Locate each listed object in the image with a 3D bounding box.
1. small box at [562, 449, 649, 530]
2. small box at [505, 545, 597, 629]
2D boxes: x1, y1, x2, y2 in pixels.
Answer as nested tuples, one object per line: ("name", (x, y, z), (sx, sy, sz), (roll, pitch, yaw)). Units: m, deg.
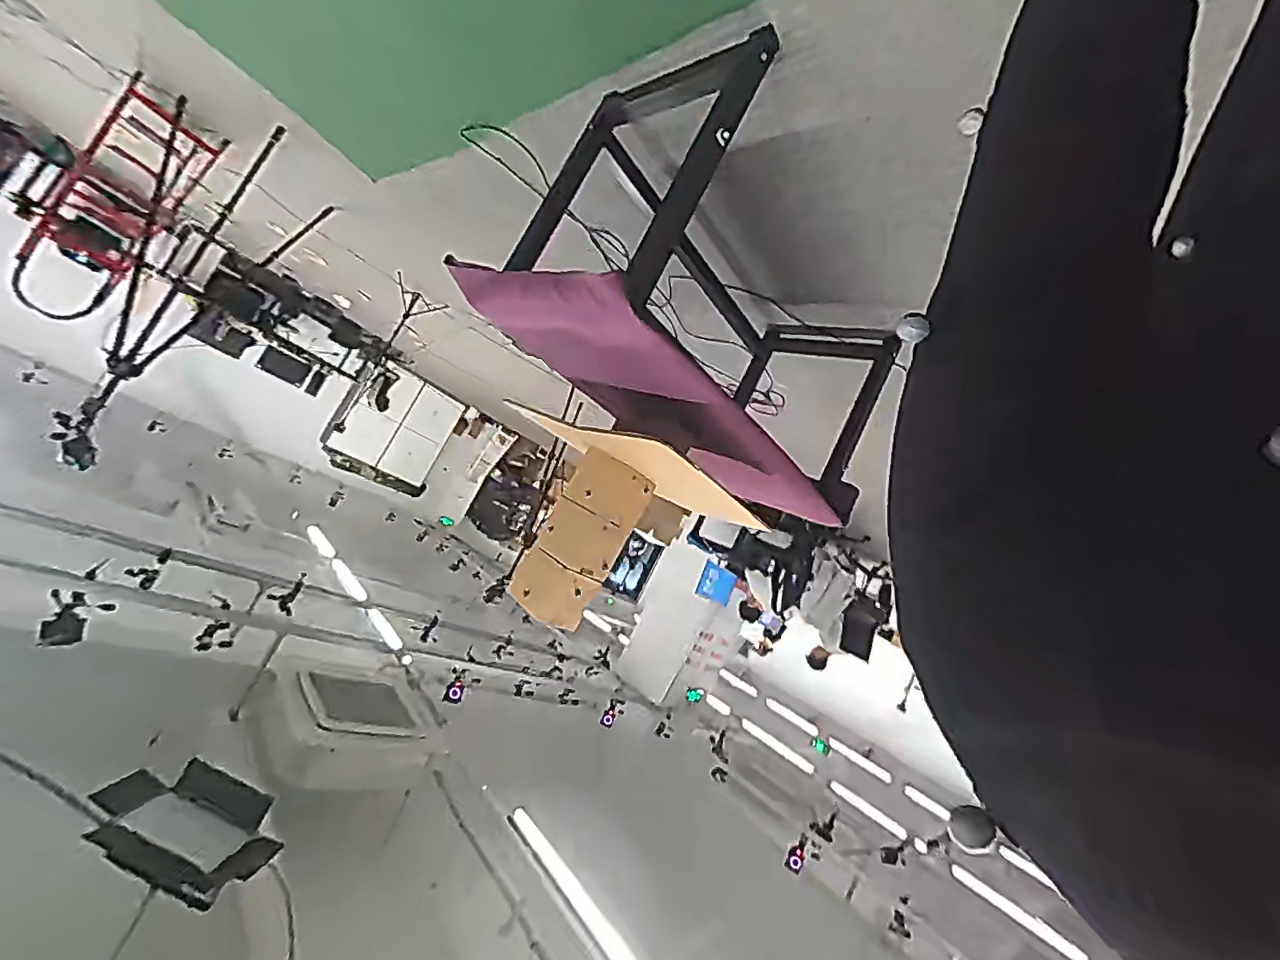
("small box", (-0.095, 0.025, 1.619), (0.179, 0.176, 0.168), (24, 173, 43))
("small box", (-0.259, 0.307, 1.592), (0.179, 0.176, 0.168), (24, 172, 46))
